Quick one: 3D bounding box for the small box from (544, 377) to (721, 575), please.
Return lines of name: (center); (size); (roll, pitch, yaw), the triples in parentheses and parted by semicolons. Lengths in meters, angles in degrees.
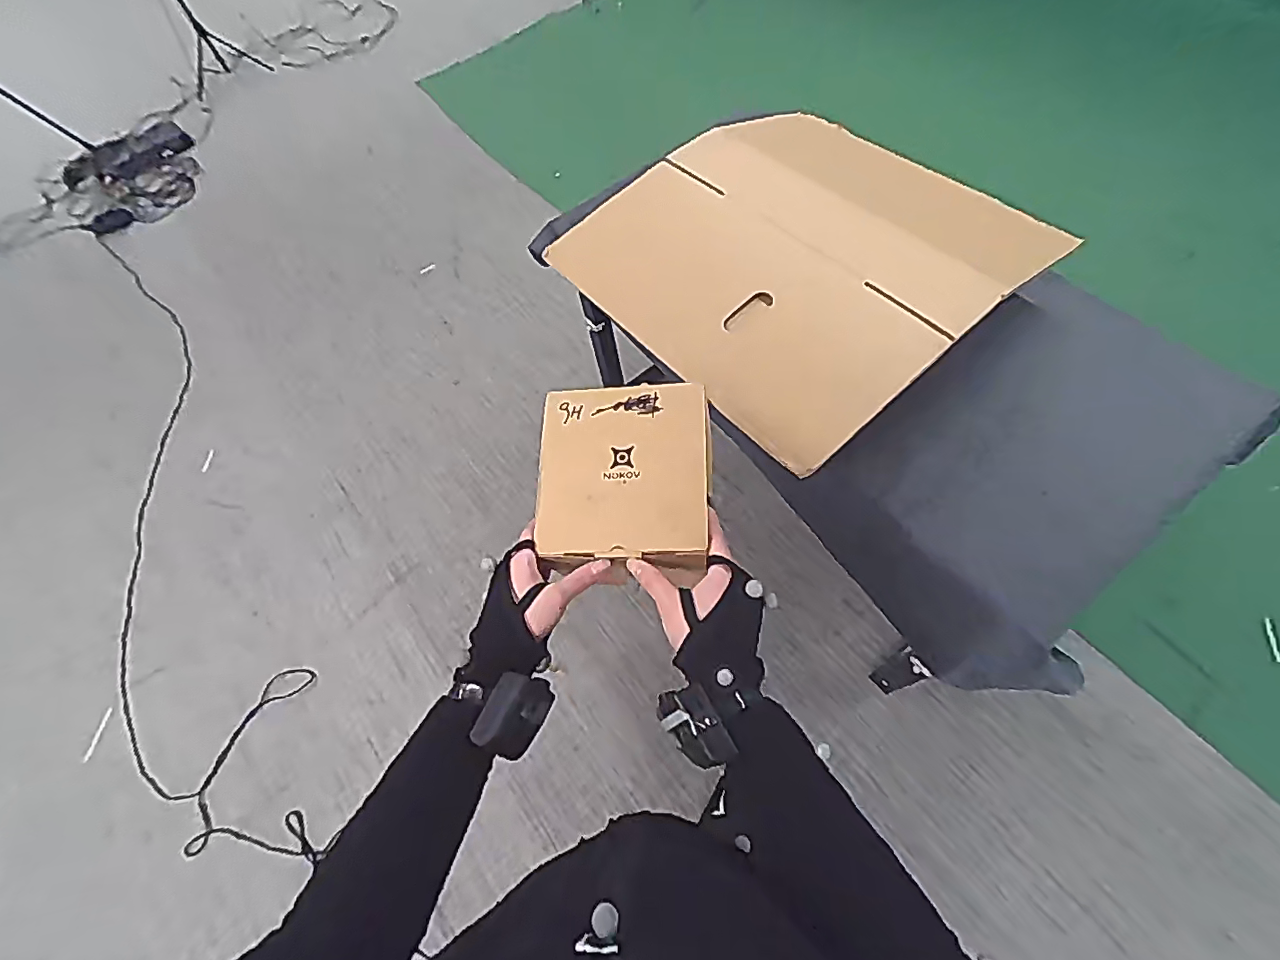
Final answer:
small box: (0.001, 0.009, 0.604); (0.168, 0.176, 0.179); (-4, 69, 9)
